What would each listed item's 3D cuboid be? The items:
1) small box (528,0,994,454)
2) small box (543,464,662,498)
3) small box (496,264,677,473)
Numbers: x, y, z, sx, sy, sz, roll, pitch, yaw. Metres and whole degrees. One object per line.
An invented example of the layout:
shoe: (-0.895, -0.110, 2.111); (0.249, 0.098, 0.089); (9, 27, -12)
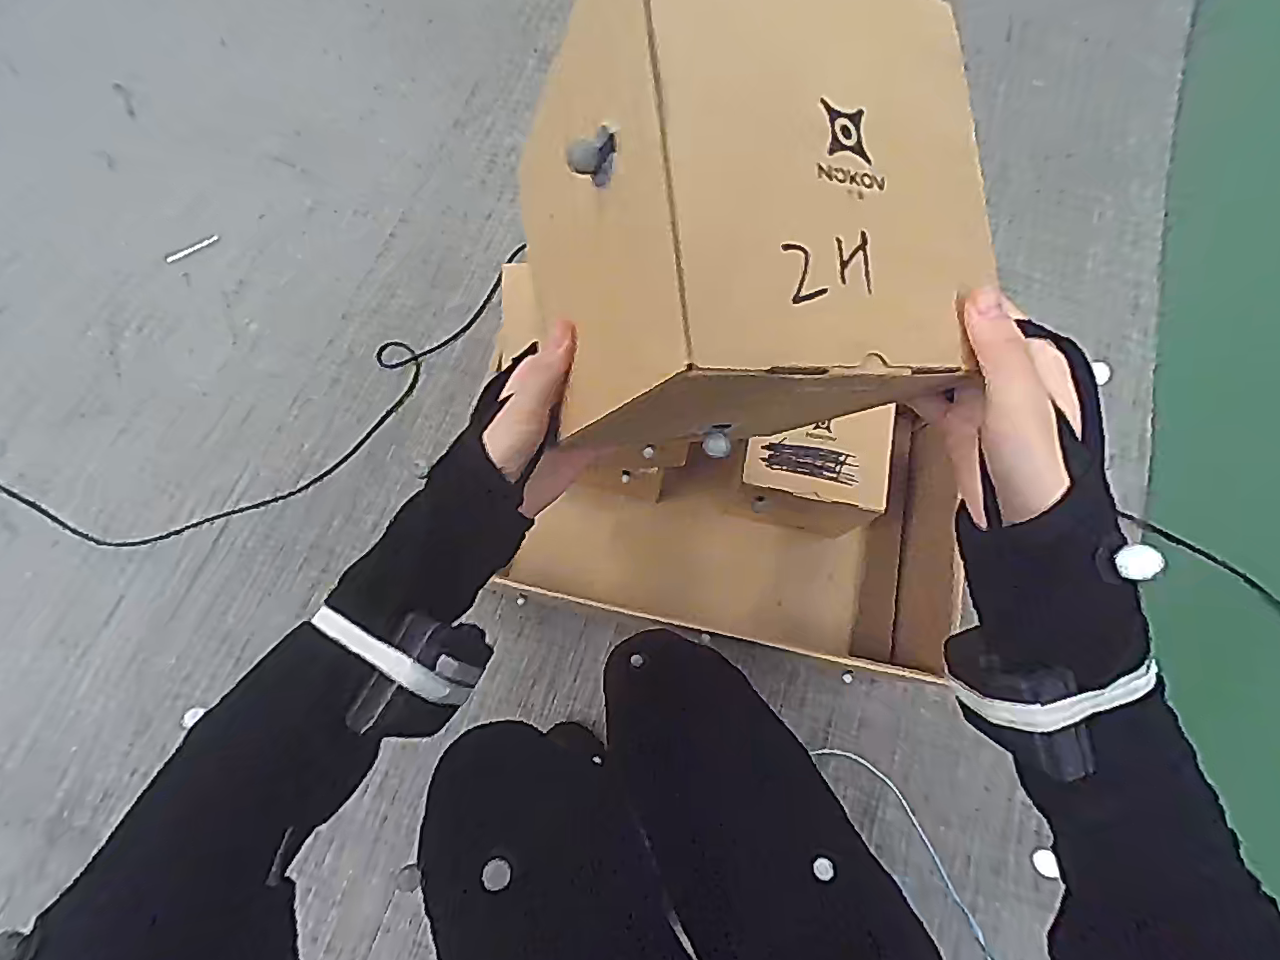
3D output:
small box: (0.043, -0.114, 0.286); (0.168, 0.176, 0.179); (-4, 87, -24)
small box: (-0.047, -0.084, 0.736); (0.179, 0.176, 0.168); (13, 76, 3)
small box: (-0.045, -0.109, 0.575); (0.179, 0.176, 0.168); (-3, 75, 0)
